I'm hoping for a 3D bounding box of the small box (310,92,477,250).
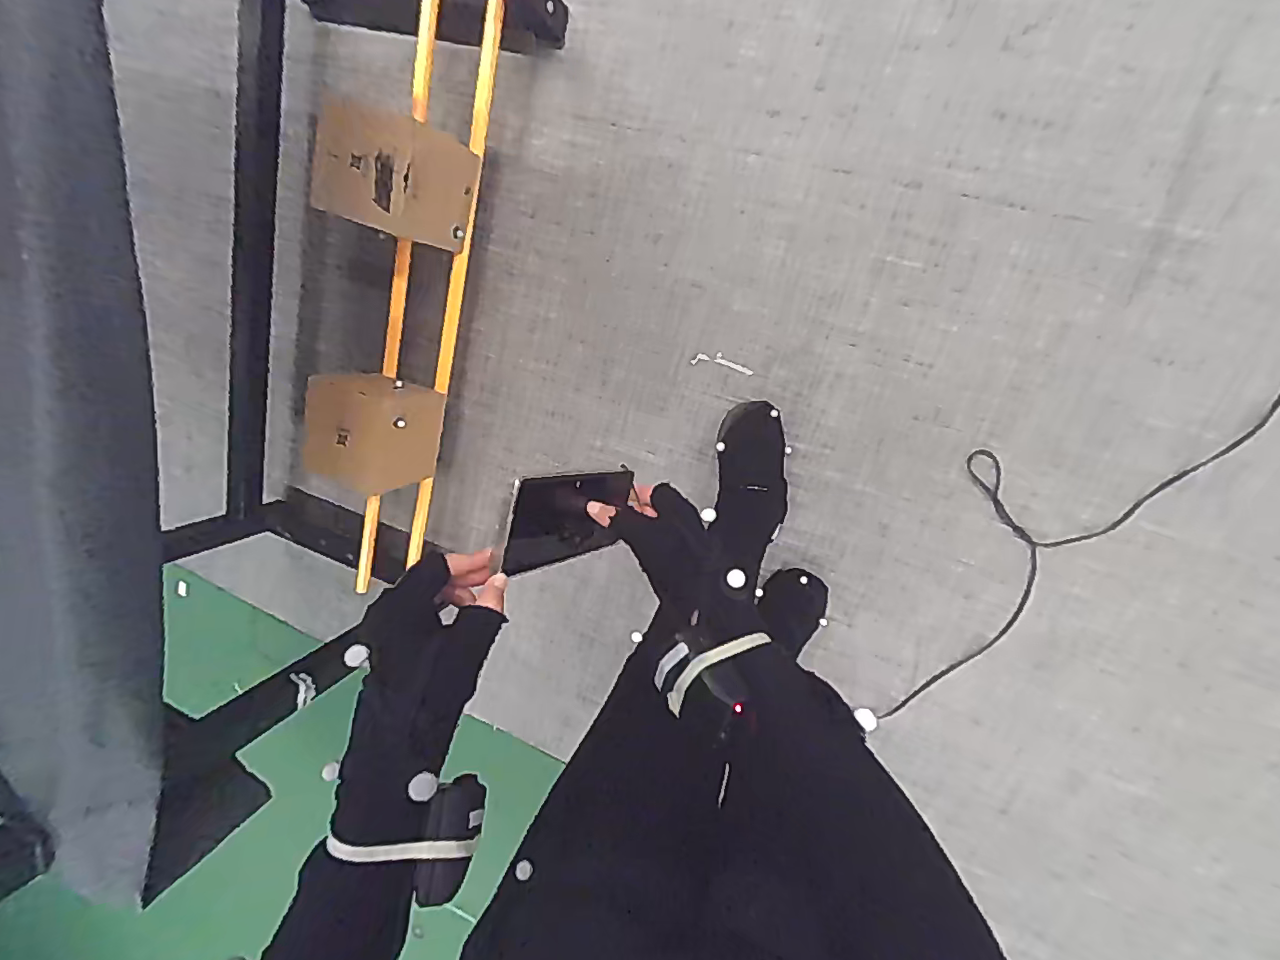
[{"bbox_3d":[-0.396,-0.492,0.888,0.179,0.176,0.168,23,108,12],"label":"small box"}]
